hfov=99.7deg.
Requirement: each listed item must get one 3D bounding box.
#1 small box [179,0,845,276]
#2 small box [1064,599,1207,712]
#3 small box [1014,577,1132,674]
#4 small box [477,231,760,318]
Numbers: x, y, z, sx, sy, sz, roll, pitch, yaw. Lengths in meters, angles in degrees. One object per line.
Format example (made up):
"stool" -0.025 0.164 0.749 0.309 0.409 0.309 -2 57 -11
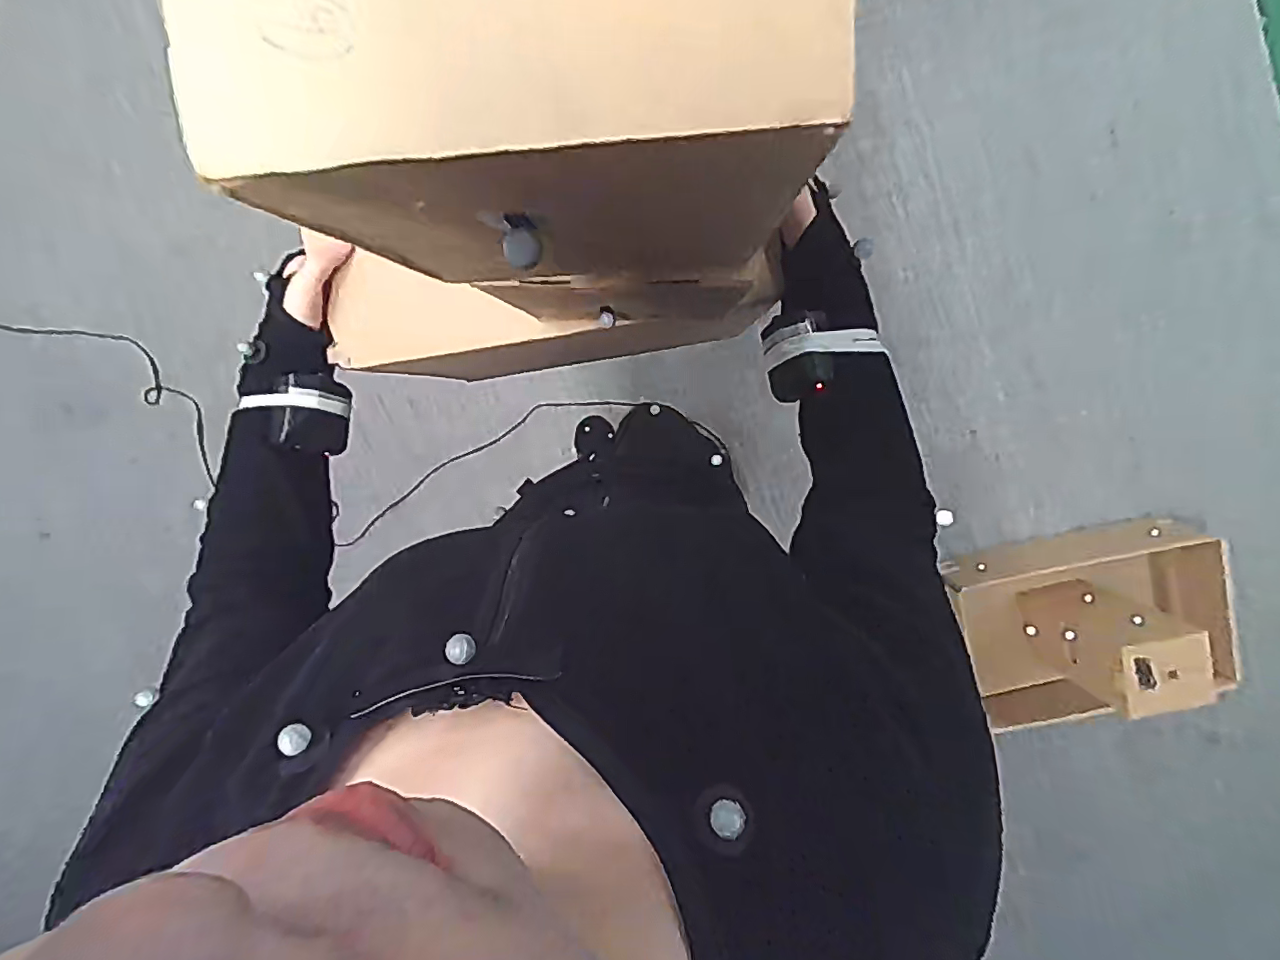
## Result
"small box" -0.032 -0.179 0.207 0.179 0.176 0.168 -2 102 4
"small box" 1.092 0.385 1.209 0.179 0.176 0.168 -13 98 4
"small box" 1.099 0.361 1.371 0.179 0.176 0.168 -14 98 5
"small box" -0.010 -0.211 0.367 0.168 0.176 0.179 2 103 3
